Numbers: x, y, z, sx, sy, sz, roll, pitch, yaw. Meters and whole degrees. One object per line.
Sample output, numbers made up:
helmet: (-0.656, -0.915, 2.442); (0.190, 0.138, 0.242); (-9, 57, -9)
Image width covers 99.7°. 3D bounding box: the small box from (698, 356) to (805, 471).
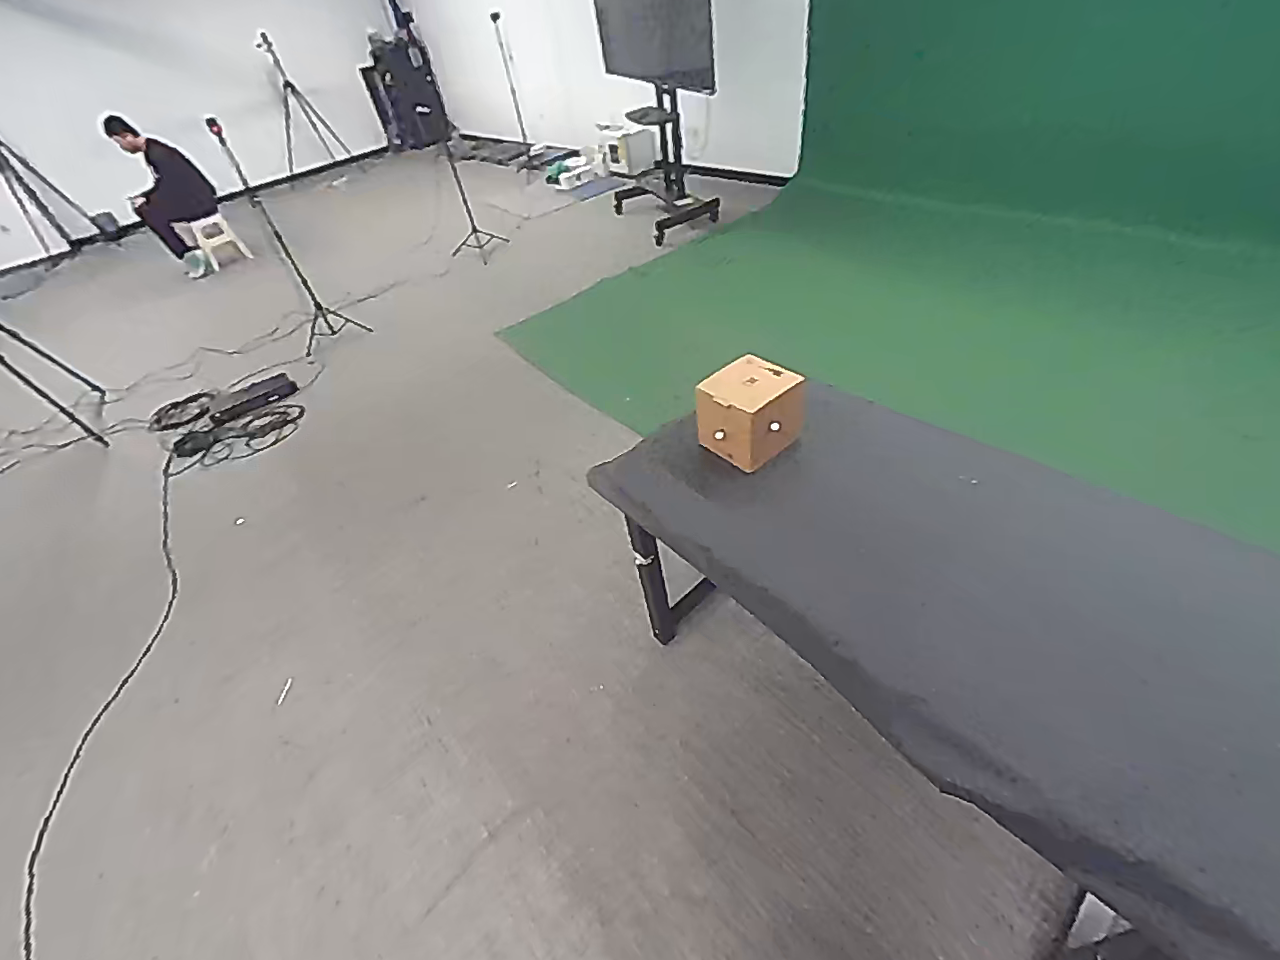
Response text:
small box: (0.256, -0.151, 1.239); (0.179, 0.176, 0.168); (-34, 48, -22)
